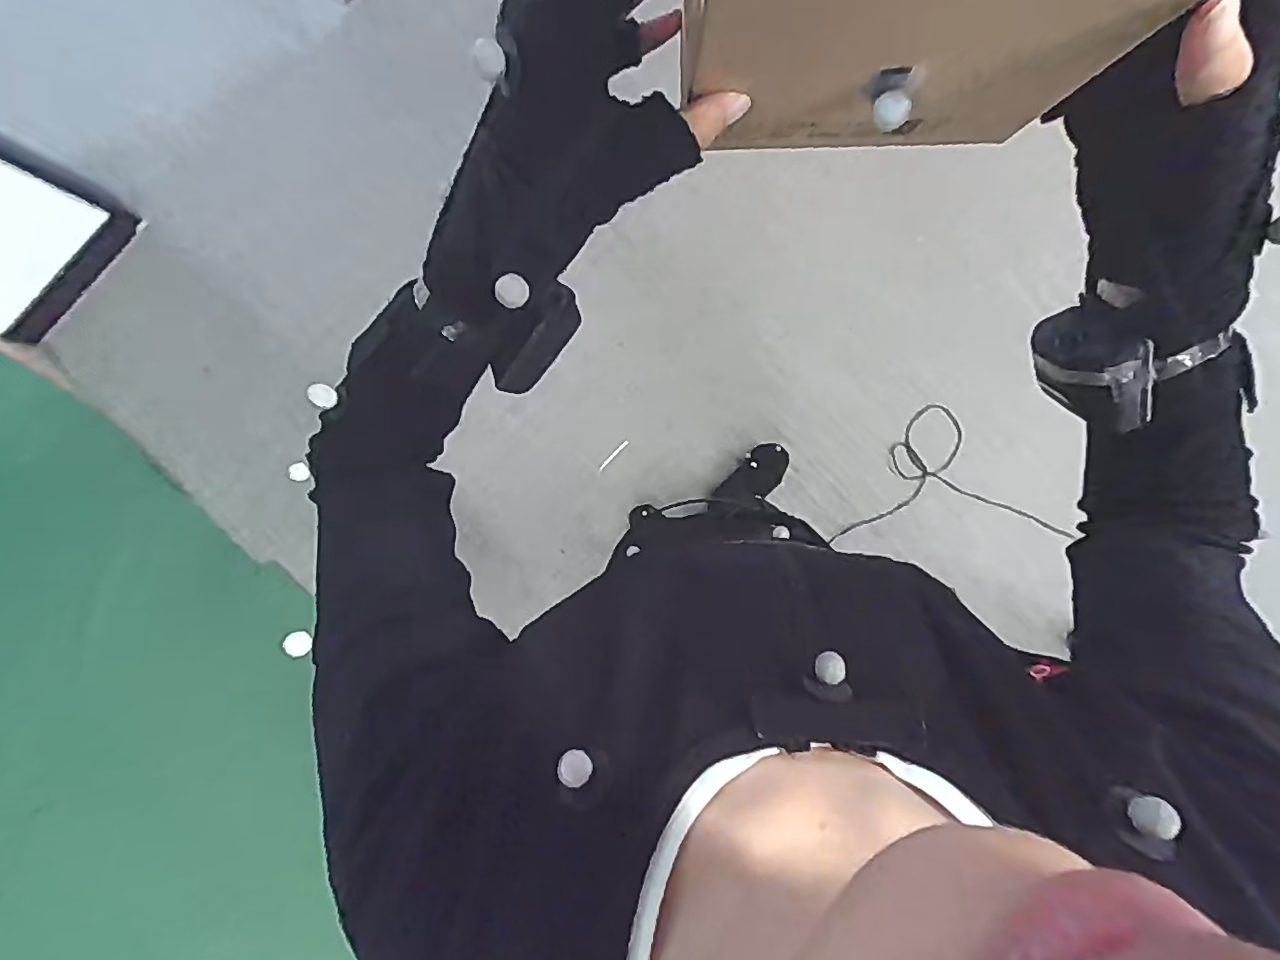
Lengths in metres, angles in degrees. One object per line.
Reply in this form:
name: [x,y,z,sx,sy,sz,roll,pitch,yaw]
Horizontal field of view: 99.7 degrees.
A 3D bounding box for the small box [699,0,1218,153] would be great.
small box: [0.109,-0.242,0.182,0.168,0.176,0.179,0,98,1]
